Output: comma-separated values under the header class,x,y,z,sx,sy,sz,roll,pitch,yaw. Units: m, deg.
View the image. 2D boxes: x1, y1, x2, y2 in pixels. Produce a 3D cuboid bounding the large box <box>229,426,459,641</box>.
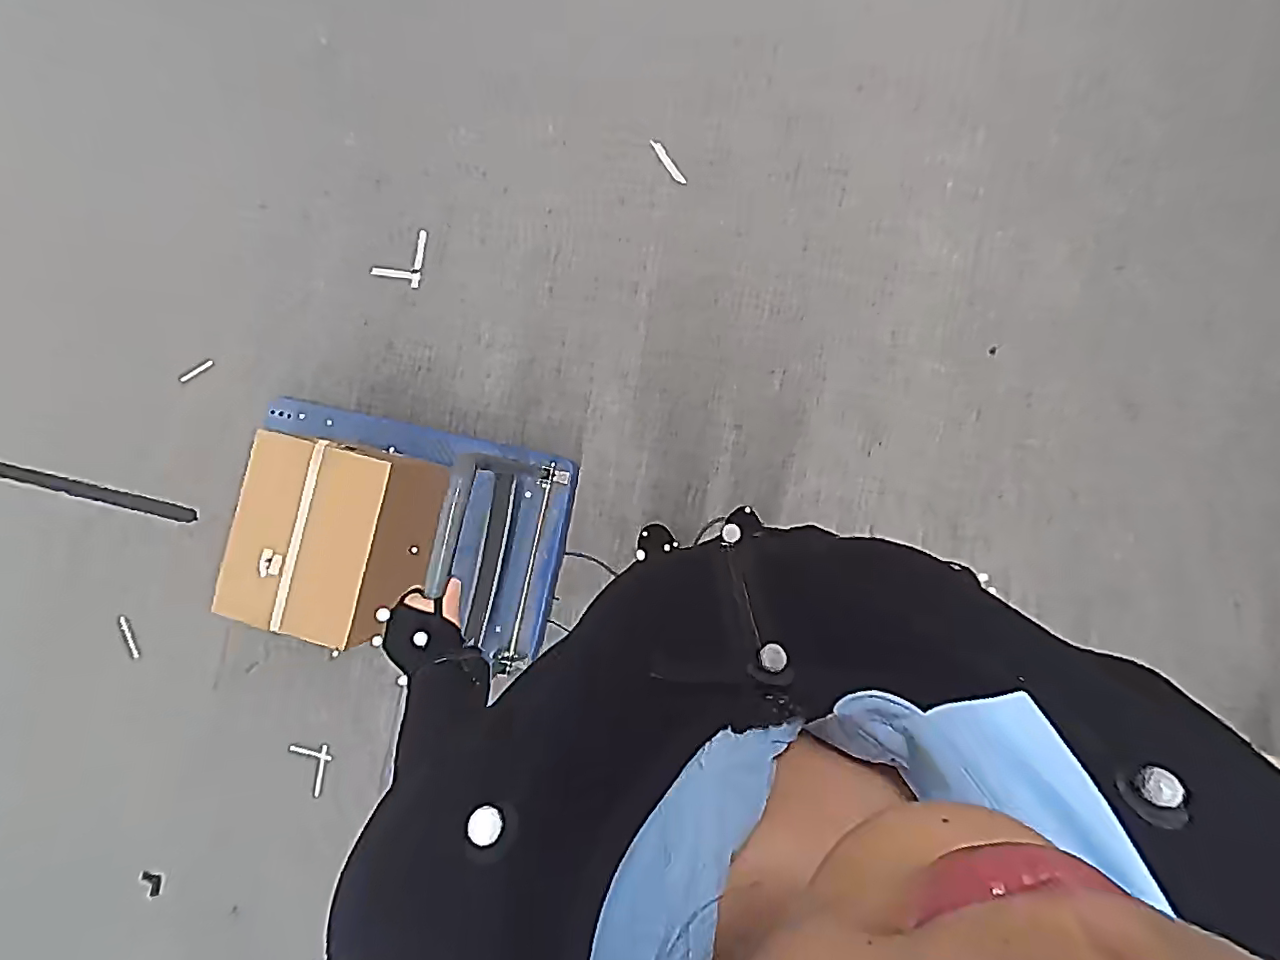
class,x,y,z,sx,sy,sz,roll,pitch,yaw
large box,-0.675,0.109,1.287,0.320,0.320,0.408,14,91,7
